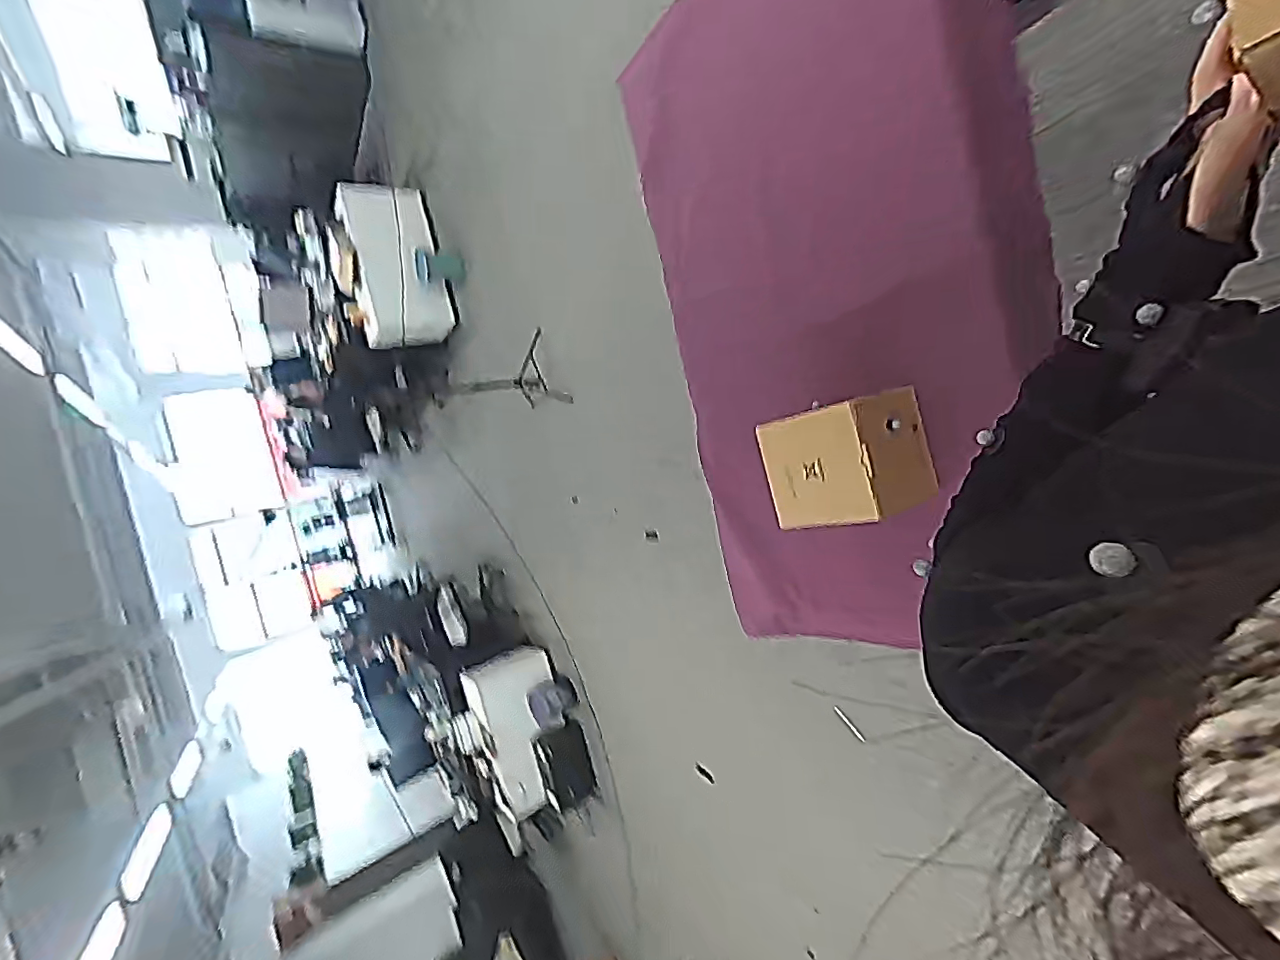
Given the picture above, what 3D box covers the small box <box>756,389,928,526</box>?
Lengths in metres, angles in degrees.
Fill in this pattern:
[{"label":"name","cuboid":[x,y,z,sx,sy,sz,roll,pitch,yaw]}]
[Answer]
[{"label":"small box","cuboid":[0.314,-0.034,0.830,0.179,0.176,0.168,-13,92,56]}]
